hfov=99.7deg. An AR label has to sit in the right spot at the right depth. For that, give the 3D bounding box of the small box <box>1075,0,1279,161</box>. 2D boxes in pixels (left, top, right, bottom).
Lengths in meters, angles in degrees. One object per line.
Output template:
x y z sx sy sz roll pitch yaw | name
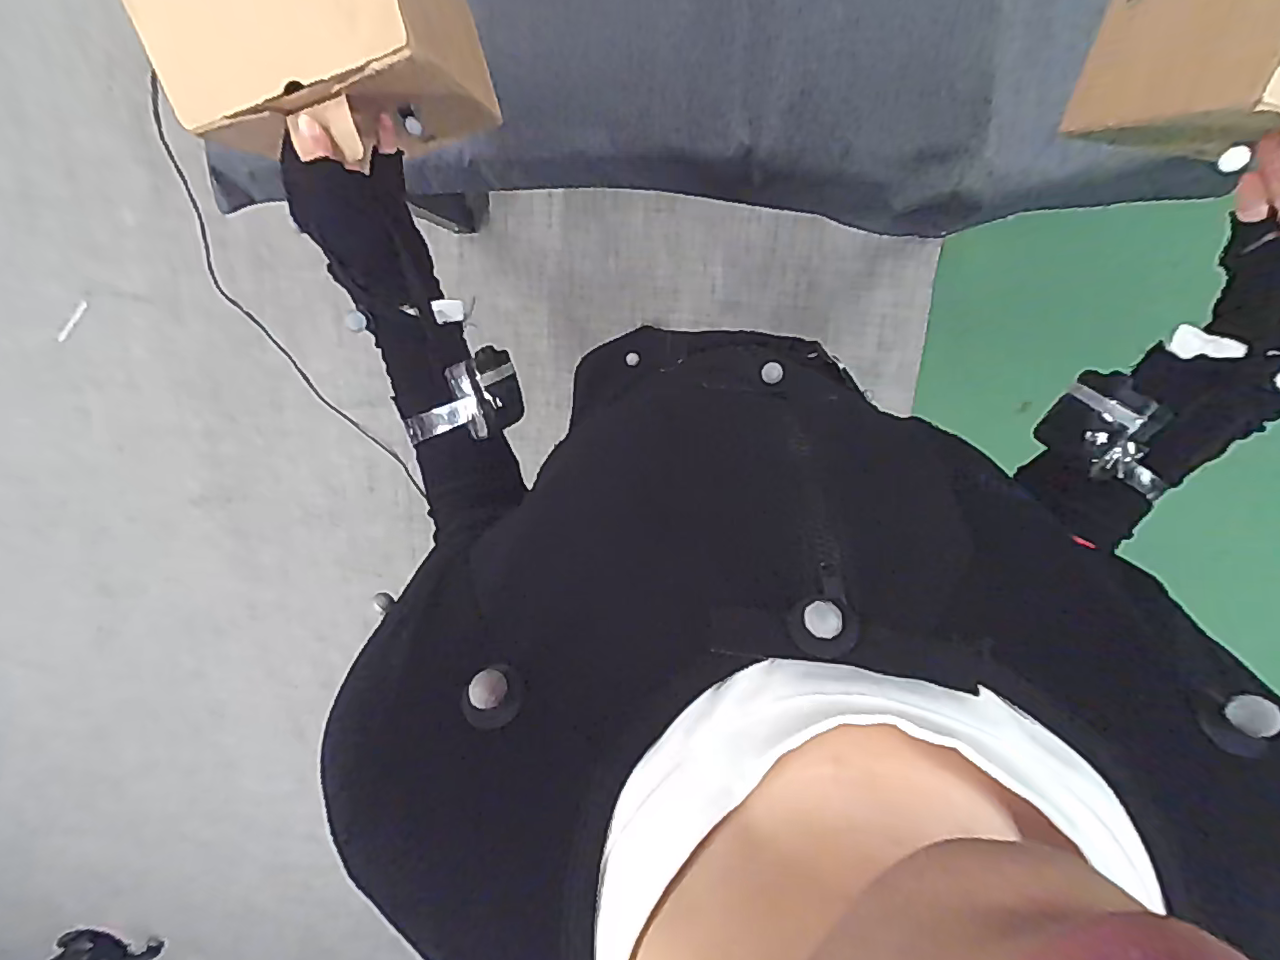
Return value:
0.413 -0.297 0.316 0.168 0.176 0.179 7 119 -2 | small box

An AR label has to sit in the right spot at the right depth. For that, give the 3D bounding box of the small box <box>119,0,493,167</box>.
-0.225 -0.341 0.377 0.168 0.176 0.179 -13 108 9 | small box
